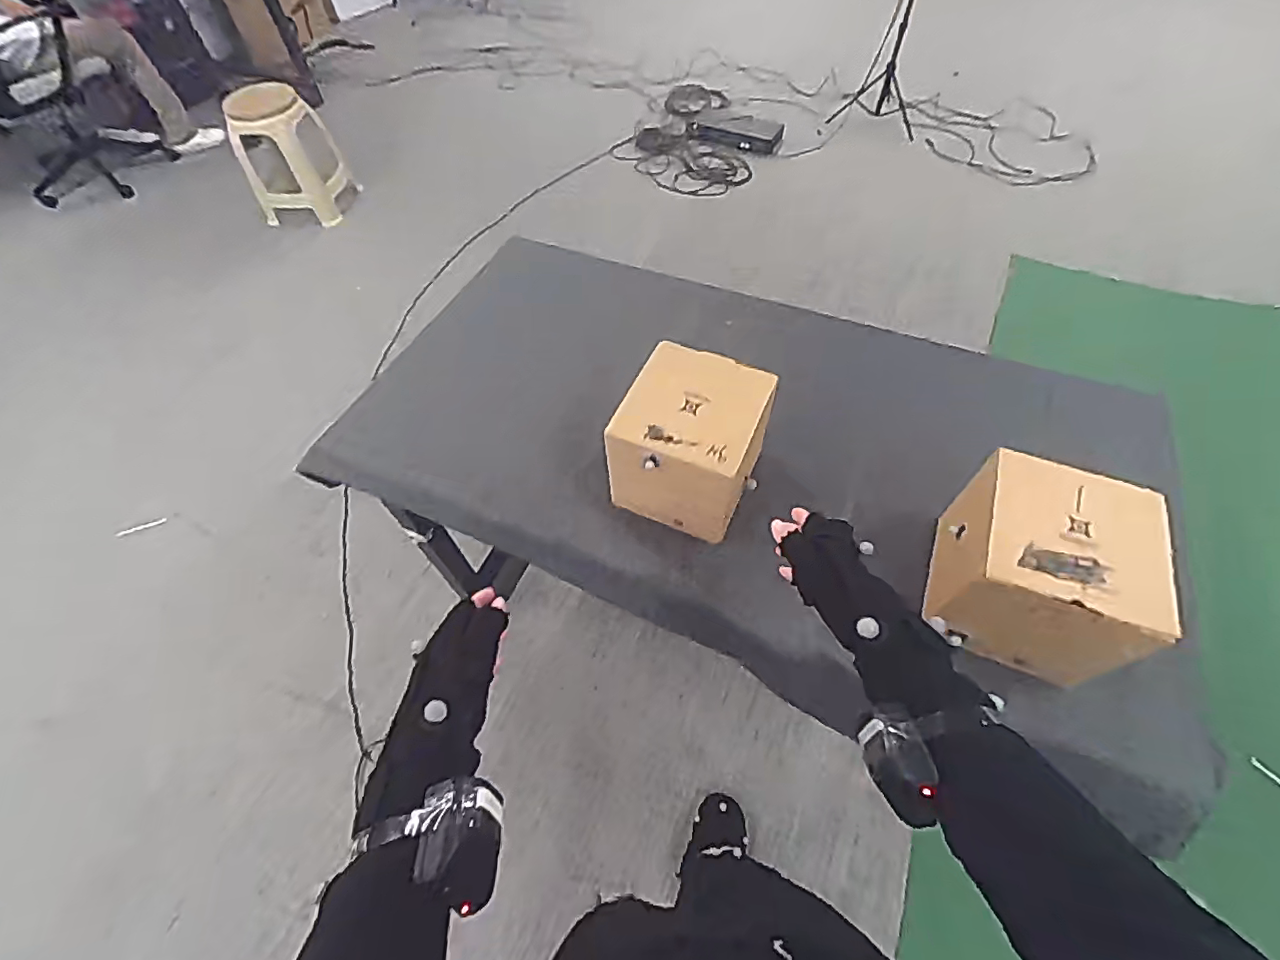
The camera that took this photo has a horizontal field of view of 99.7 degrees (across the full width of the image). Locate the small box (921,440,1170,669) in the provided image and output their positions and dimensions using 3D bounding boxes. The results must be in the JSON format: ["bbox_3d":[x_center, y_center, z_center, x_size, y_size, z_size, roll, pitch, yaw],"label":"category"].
[{"bbox_3d":[0.446,0.091,0.620,0.168,0.176,0.179,21,59,14],"label":"small box"}]

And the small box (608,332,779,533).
[{"bbox_3d":[0.069,-0.061,0.729,0.168,0.176,0.179,21,59,14],"label":"small box"}]
